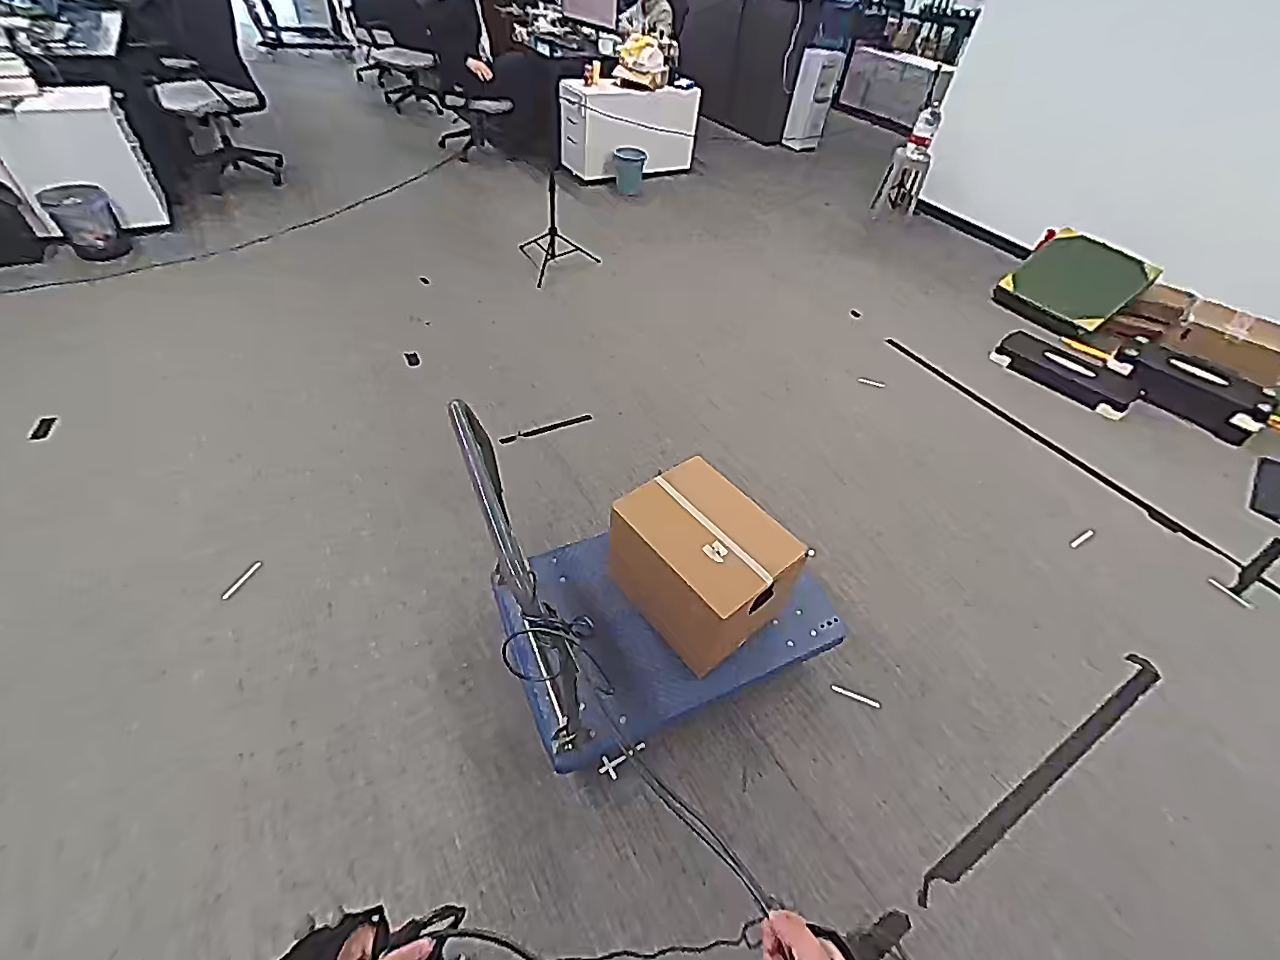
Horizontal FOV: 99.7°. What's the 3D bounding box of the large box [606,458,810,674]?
[{"bbox_3d":[0.156,0.218,1.434,0.320,0.320,0.408,-29,58,-29],"label":"large box"}]
